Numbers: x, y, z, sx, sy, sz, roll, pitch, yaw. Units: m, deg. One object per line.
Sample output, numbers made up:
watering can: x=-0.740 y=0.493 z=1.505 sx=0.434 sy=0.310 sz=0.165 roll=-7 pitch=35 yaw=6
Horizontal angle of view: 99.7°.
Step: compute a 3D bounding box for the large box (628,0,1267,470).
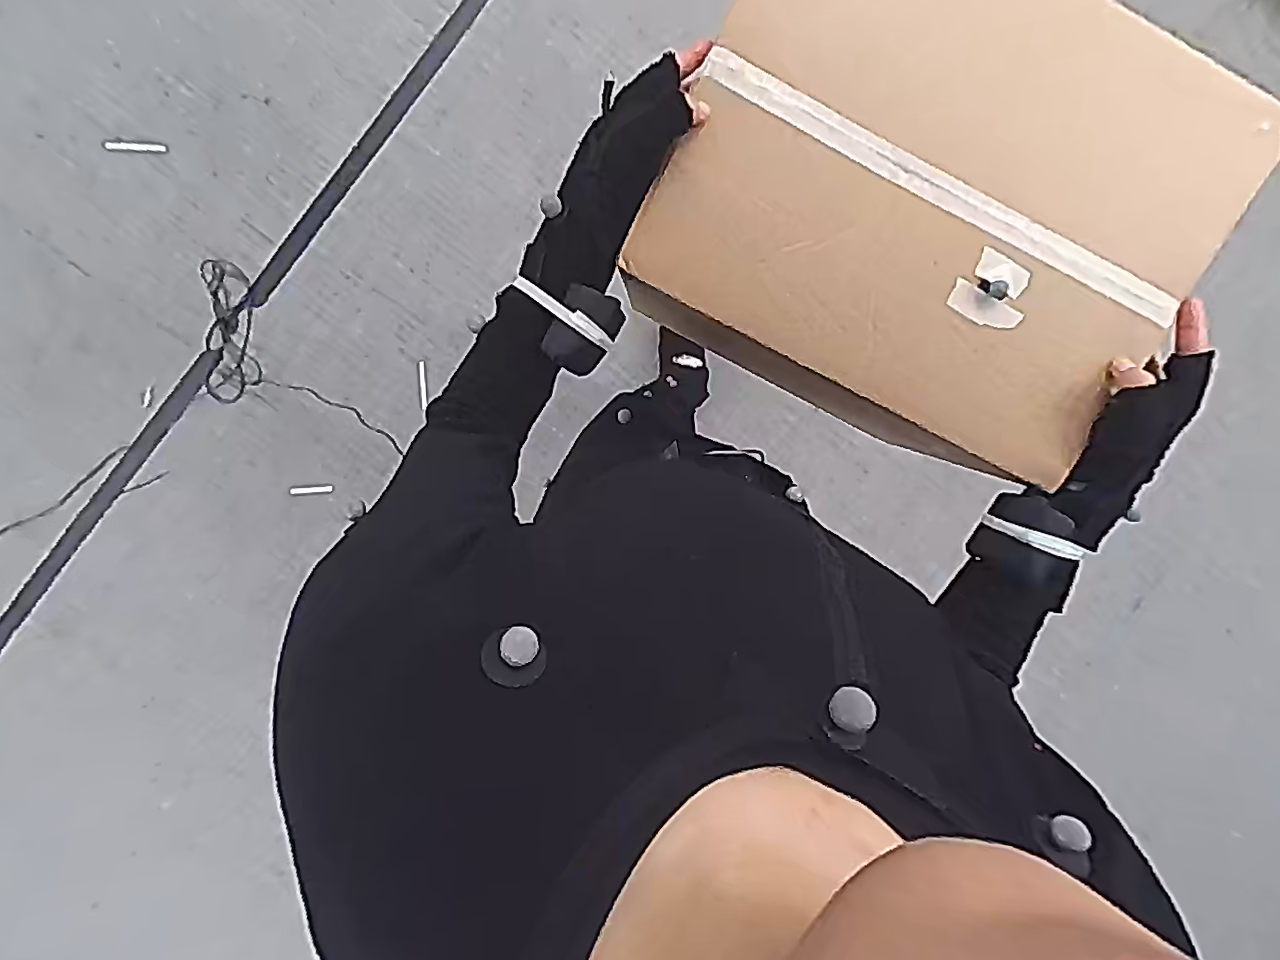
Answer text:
large box: x=0.231 y=-0.255 z=0.565 sx=0.408 sy=0.320 sz=0.320 roll=27 pitch=102 yaw=-5
